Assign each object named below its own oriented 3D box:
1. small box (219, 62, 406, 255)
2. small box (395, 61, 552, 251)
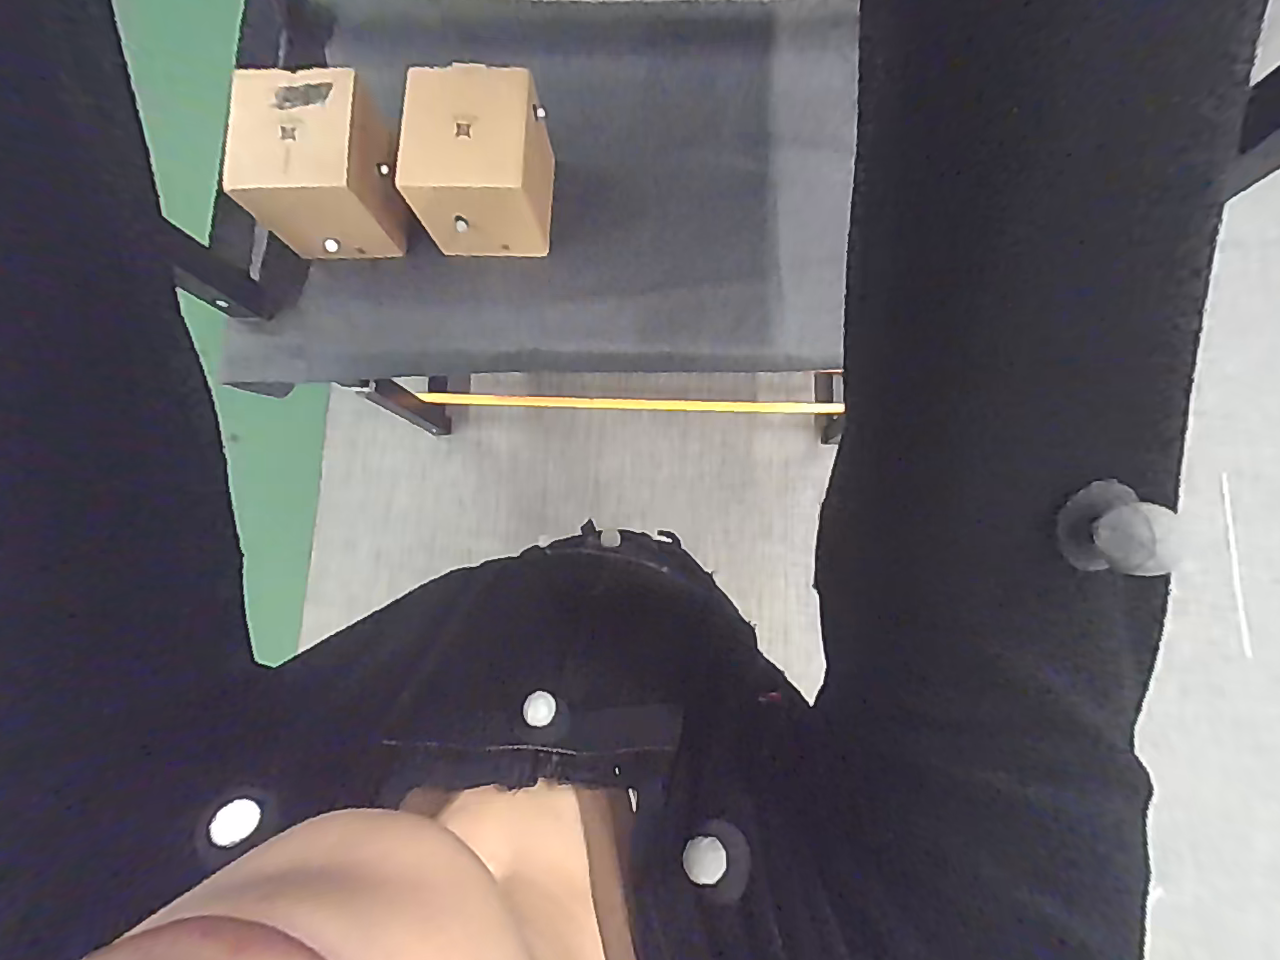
[{"bbox_3d":[-0.452,-0.451,0.777,0.168,0.176,0.179,-1,82,2],"label":"small box"},{"bbox_3d":[-0.225,-0.449,0.773,0.168,0.176,0.179,2,81,2],"label":"small box"}]
